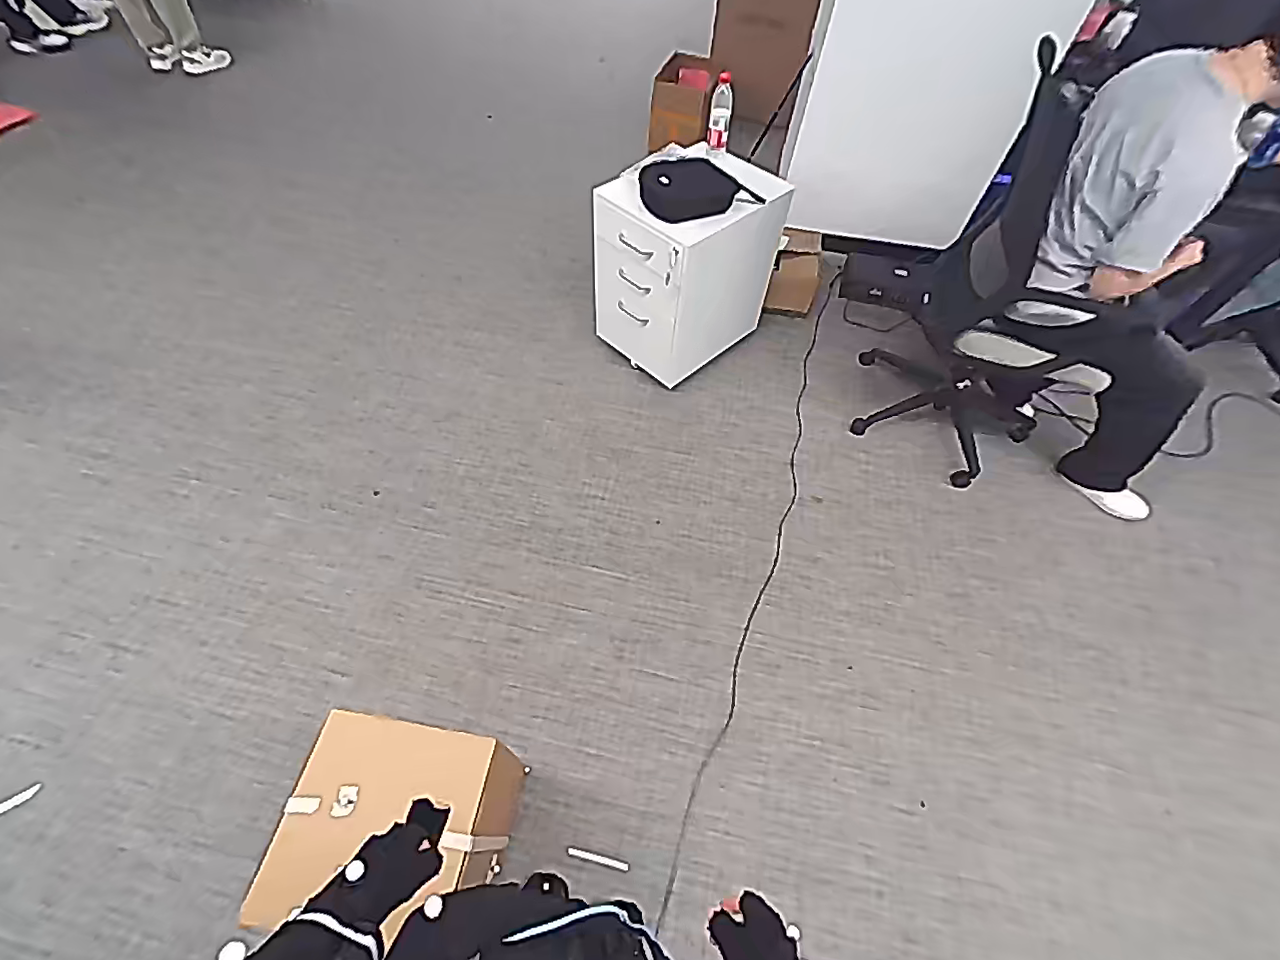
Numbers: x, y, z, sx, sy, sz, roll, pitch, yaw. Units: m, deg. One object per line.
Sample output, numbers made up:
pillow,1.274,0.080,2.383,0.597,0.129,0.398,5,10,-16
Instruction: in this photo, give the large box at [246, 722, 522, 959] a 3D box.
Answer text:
large box,-0.440,0.683,1.048,0.320,0.408,0.320,10,57,3
